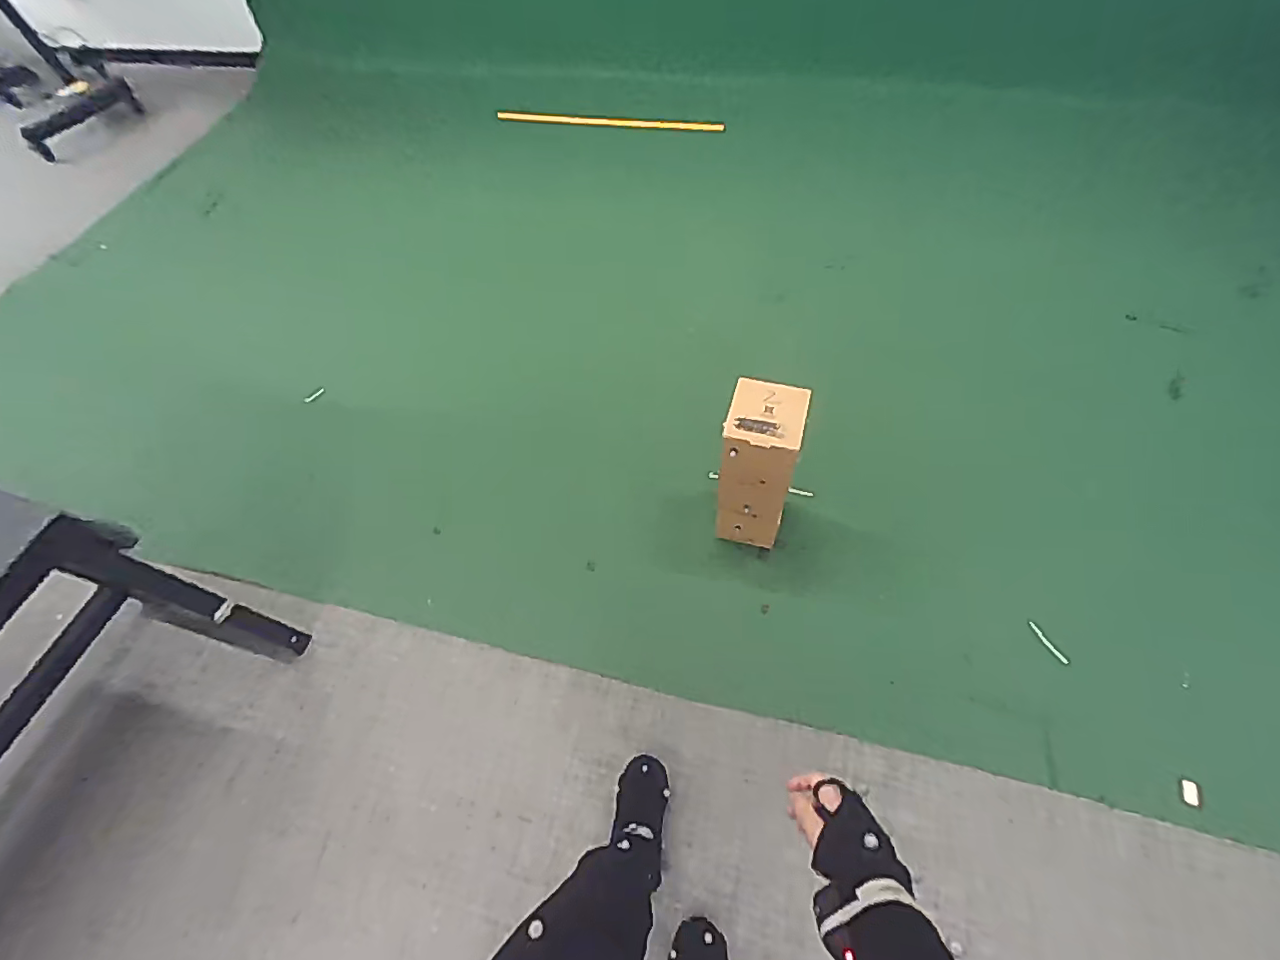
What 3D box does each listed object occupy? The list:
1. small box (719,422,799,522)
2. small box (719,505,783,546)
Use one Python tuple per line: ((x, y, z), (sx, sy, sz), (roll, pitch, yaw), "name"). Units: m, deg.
((0.301, -0.018, 1.388), (0.168, 0.176, 0.179), (12, 61, 14), "small box")
((0.319, 0.068, 1.528), (0.168, 0.176, 0.179), (10, 60, 12), "small box")
